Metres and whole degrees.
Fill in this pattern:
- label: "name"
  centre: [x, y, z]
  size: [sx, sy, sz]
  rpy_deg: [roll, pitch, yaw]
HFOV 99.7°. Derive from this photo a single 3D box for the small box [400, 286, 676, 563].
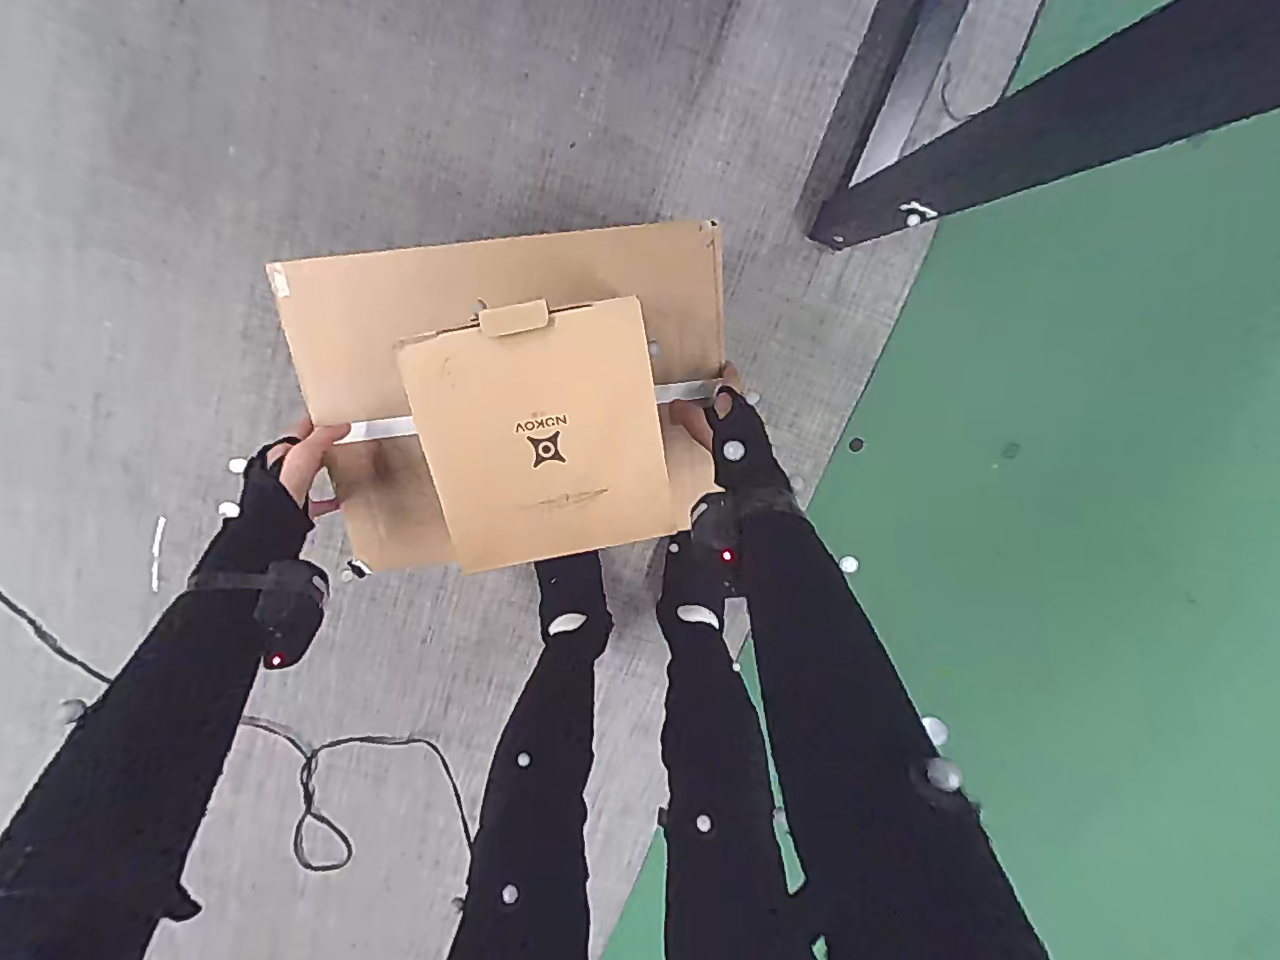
- label: "small box"
  centre: [-0.072, -0.056, 0.454]
  size: [0.168, 0.176, 0.179]
  rpy_deg: [-10, 108, -1]
